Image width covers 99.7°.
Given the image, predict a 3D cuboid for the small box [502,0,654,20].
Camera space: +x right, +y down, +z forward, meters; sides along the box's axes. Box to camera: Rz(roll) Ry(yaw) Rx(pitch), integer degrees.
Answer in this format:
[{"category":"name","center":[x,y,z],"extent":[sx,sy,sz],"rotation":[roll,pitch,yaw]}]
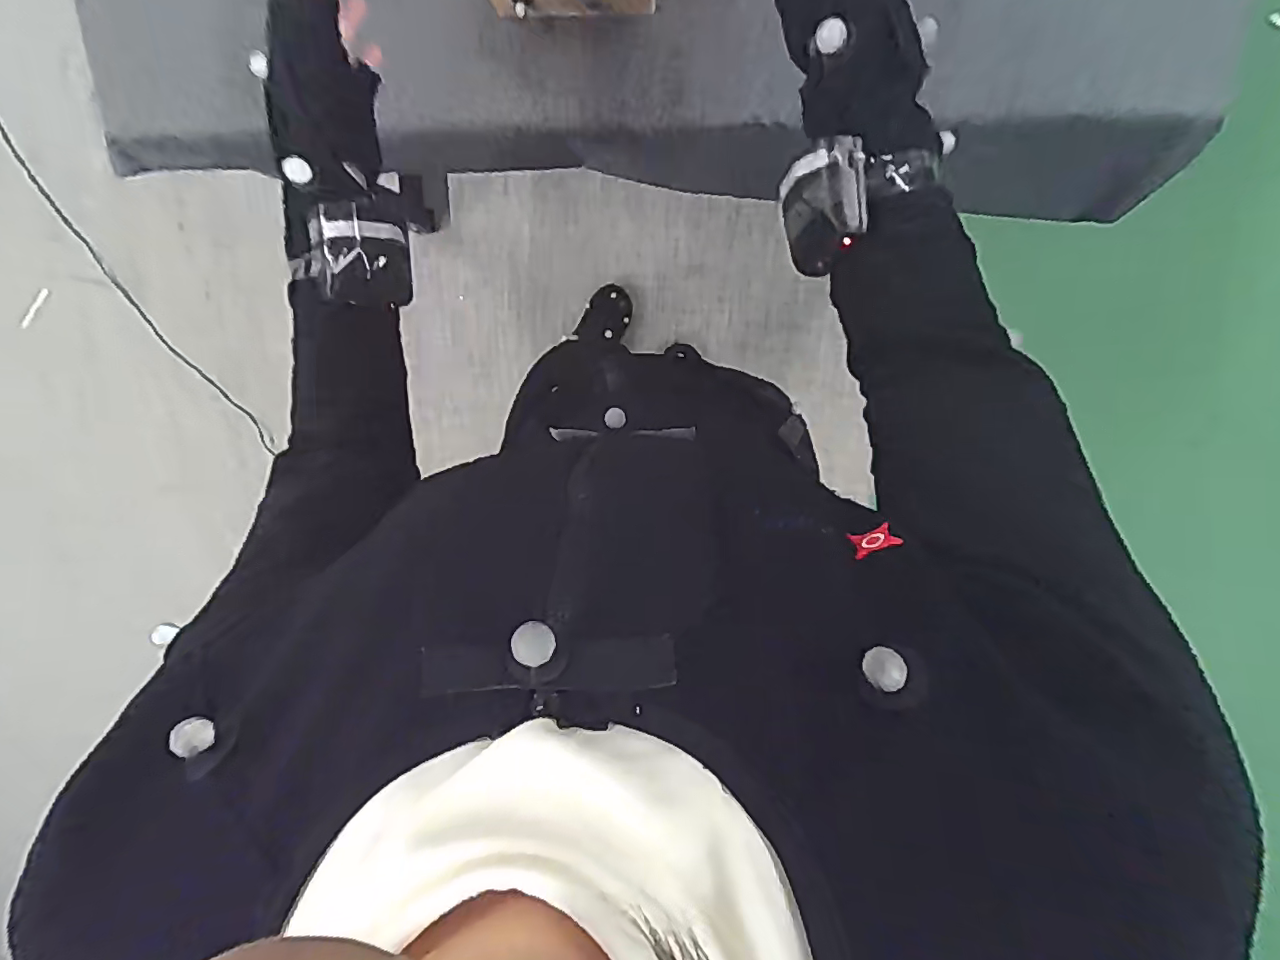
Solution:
[{"category":"small box","center":[-0.068,-0.548,0.475],"extent":[0.168,0.176,0.179],"rotation":[3,103,3]}]
